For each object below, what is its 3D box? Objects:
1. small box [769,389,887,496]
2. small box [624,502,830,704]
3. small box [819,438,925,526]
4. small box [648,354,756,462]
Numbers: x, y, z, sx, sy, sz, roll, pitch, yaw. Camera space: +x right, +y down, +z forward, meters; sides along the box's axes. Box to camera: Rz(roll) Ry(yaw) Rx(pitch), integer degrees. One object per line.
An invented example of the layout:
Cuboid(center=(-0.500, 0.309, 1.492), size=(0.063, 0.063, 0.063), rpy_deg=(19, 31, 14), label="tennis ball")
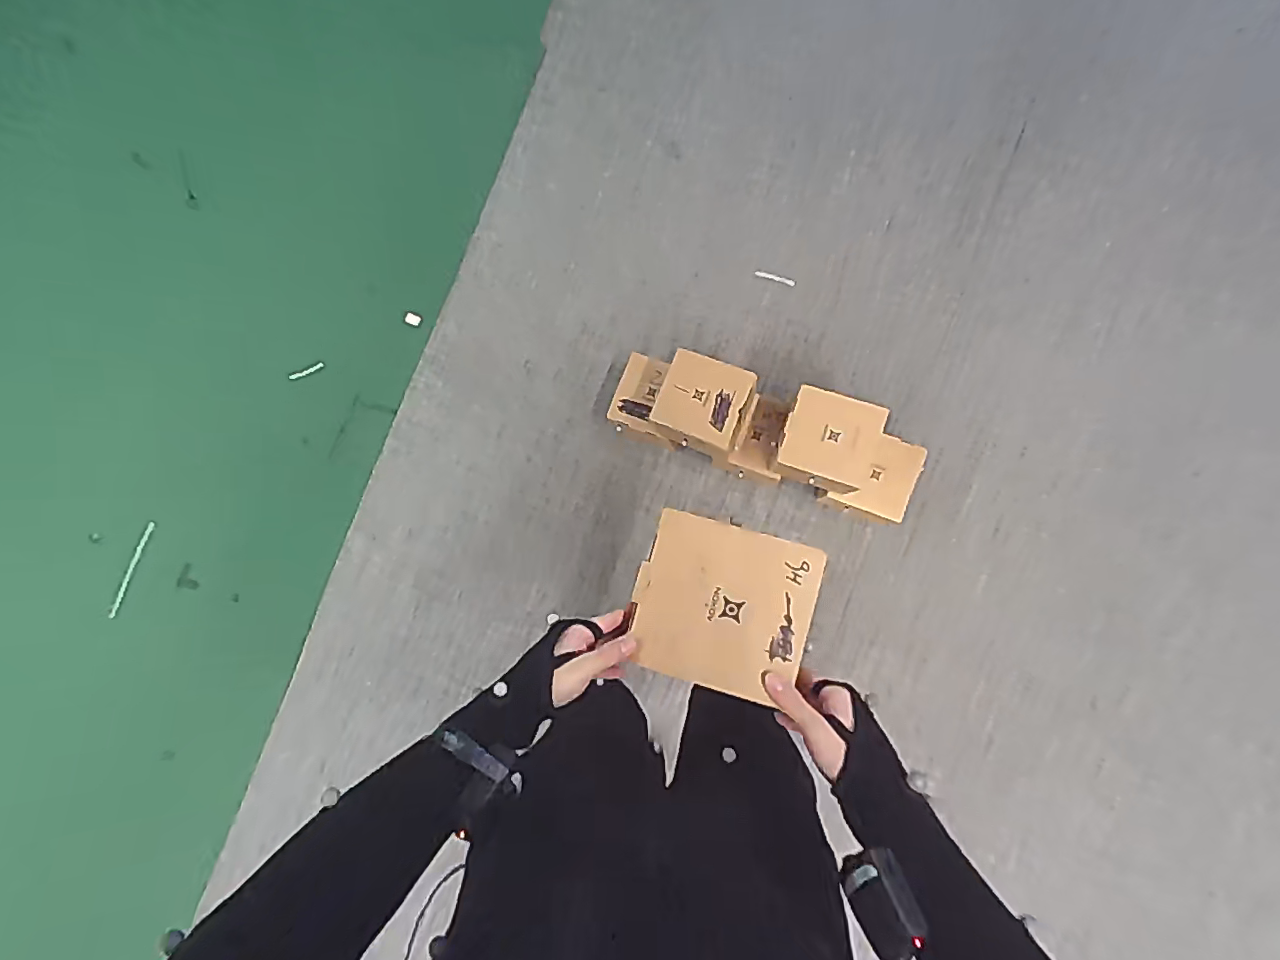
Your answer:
Cuboid(center=(0.381, -0.069, 1.127), size=(0.179, 0.176, 0.168), rpy_deg=(19, 87, 9), label="small box")
Cuboid(center=(0.097, 0.131, 0.631), size=(0.179, 0.176, 0.168), rpy_deg=(16, 87, 7), label="small box")
Cuboid(center=(0.529, 0.001, 1.262), size=(0.168, 0.176, 0.179), rpy_deg=(21, 87, 11), label="small box")
Cuboid(center=(0.138, -0.148, 1.175), size=(0.179, 0.176, 0.168), rpy_deg=(22, 87, 12), label="small box")
